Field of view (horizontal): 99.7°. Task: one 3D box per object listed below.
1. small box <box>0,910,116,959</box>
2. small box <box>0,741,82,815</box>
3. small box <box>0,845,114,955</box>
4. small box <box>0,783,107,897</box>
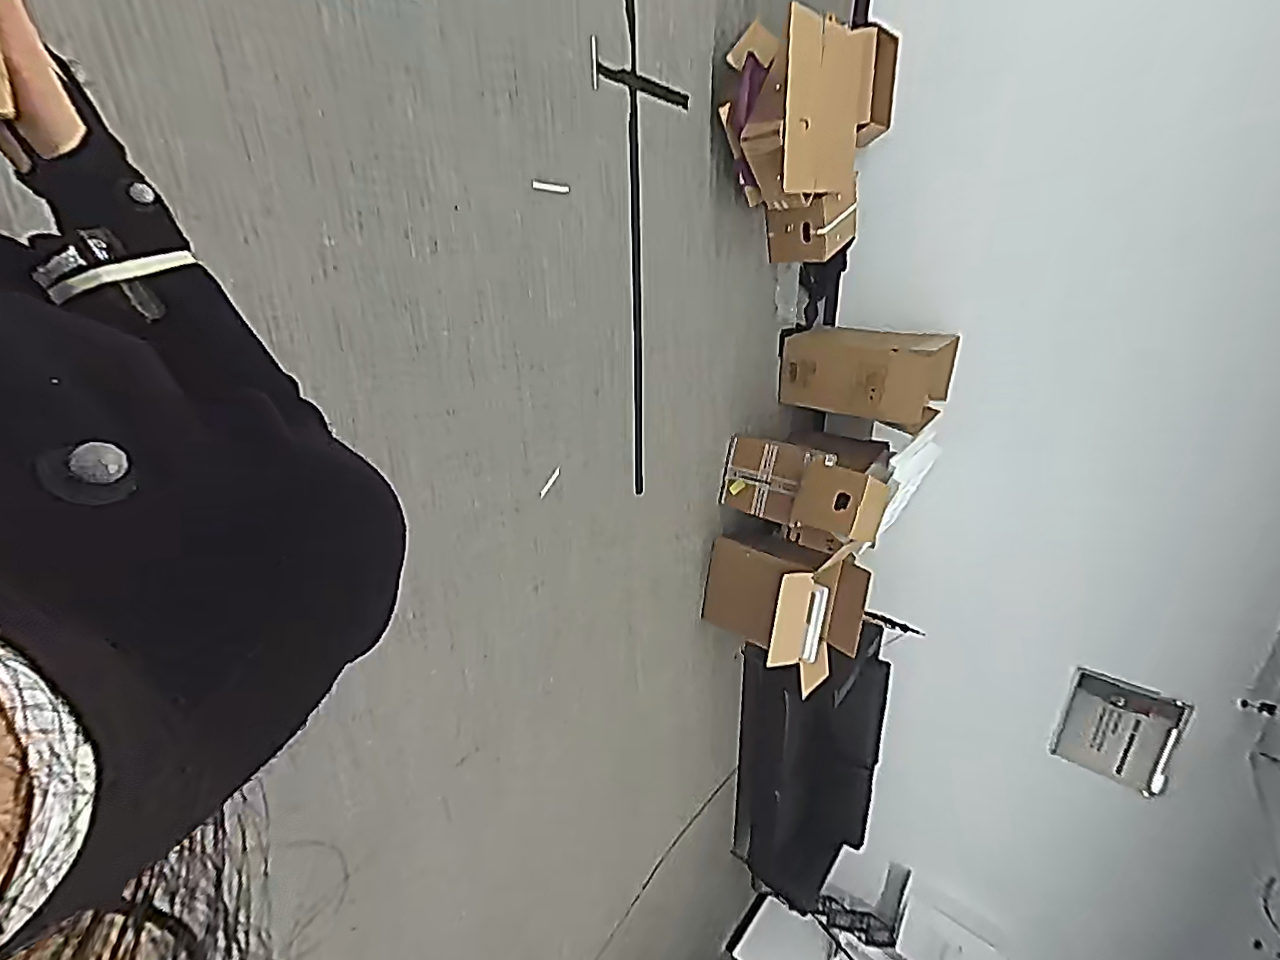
[{"bbox_3d":[-0.851,0.763,0.759,0.168,0.176,0.179,-23,121,-47],"label":"small box"},{"bbox_3d":[-1.232,0.657,1.052,0.179,0.176,0.168,-24,120,-46],"label":"small box"},{"bbox_3d":[-0.980,0.727,0.855,0.168,0.176,0.179,-22,118,-47],"label":"small box"},{"bbox_3d":[-1.101,0.687,0.958,0.179,0.176,0.168,-21,117,-47],"label":"small box"}]
